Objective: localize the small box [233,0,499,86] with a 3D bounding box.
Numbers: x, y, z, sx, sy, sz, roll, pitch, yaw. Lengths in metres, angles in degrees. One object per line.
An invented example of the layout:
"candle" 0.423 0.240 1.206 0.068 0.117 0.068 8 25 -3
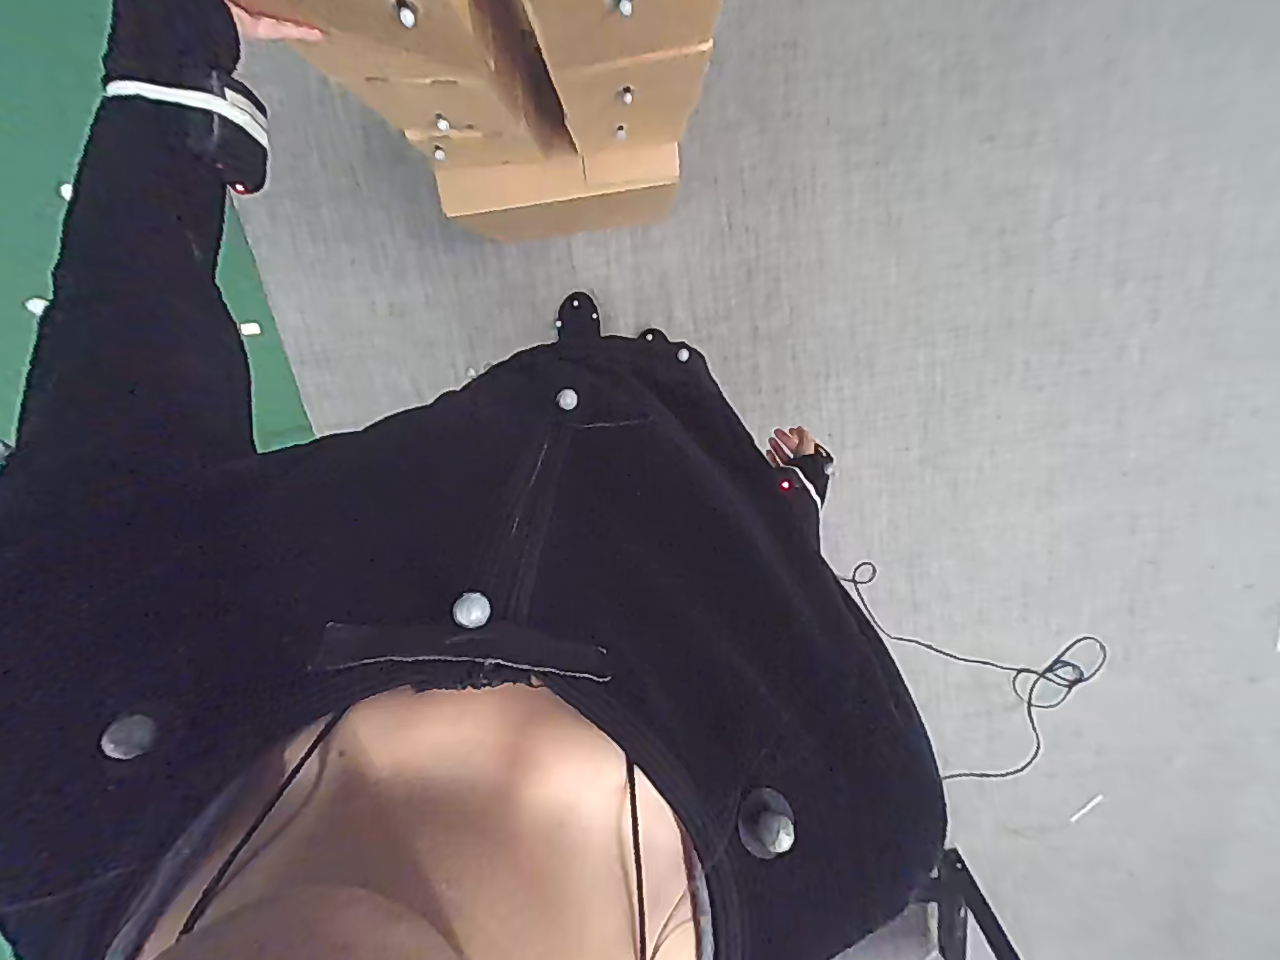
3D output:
"small box" -0.238 -0.476 0.478 0.179 0.176 0.168 -2 107 0

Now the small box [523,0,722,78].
"small box" -0.019 -0.486 0.472 0.179 0.176 0.168 -9 108 3
